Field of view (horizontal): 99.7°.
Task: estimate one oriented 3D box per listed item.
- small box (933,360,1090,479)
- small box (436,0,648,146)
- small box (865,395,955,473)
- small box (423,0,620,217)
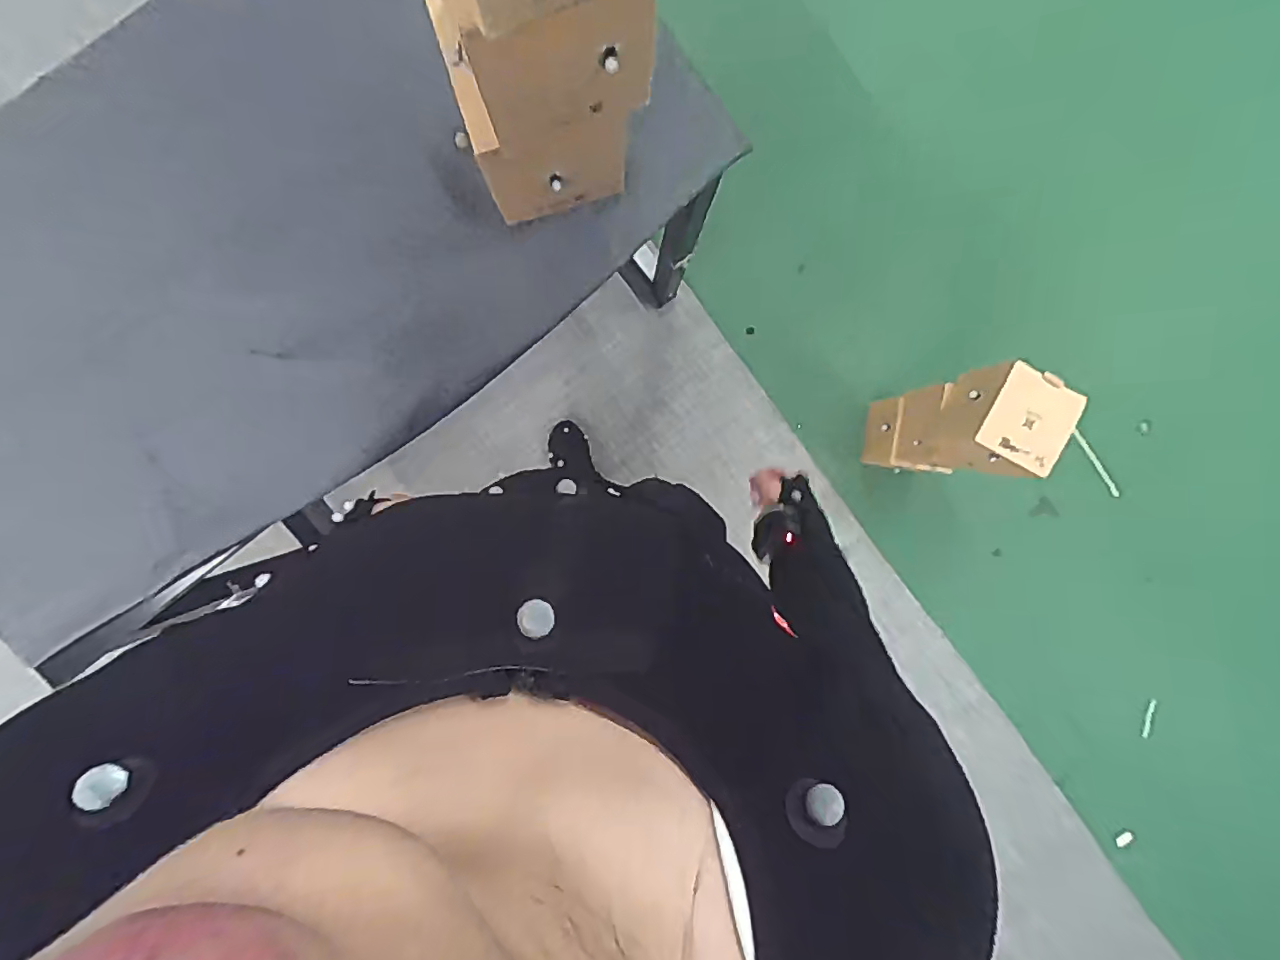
[{"bbox_3d":[0.743,-0.118,1.105,0.168,0.176,0.179,27,91,-4],"label":"small box"},{"bbox_3d":[-0.095,-0.434,0.475,0.168,0.176,0.179,-23,91,-2],"label":"small box"},{"bbox_3d":[0.718,-0.118,1.433,0.168,0.176,0.179,8,92,-3],"label":"small box"},{"bbox_3d":[-0.123,-0.437,0.636,0.168,0.176,0.179,-17,92,-2],"label":"small box"}]
